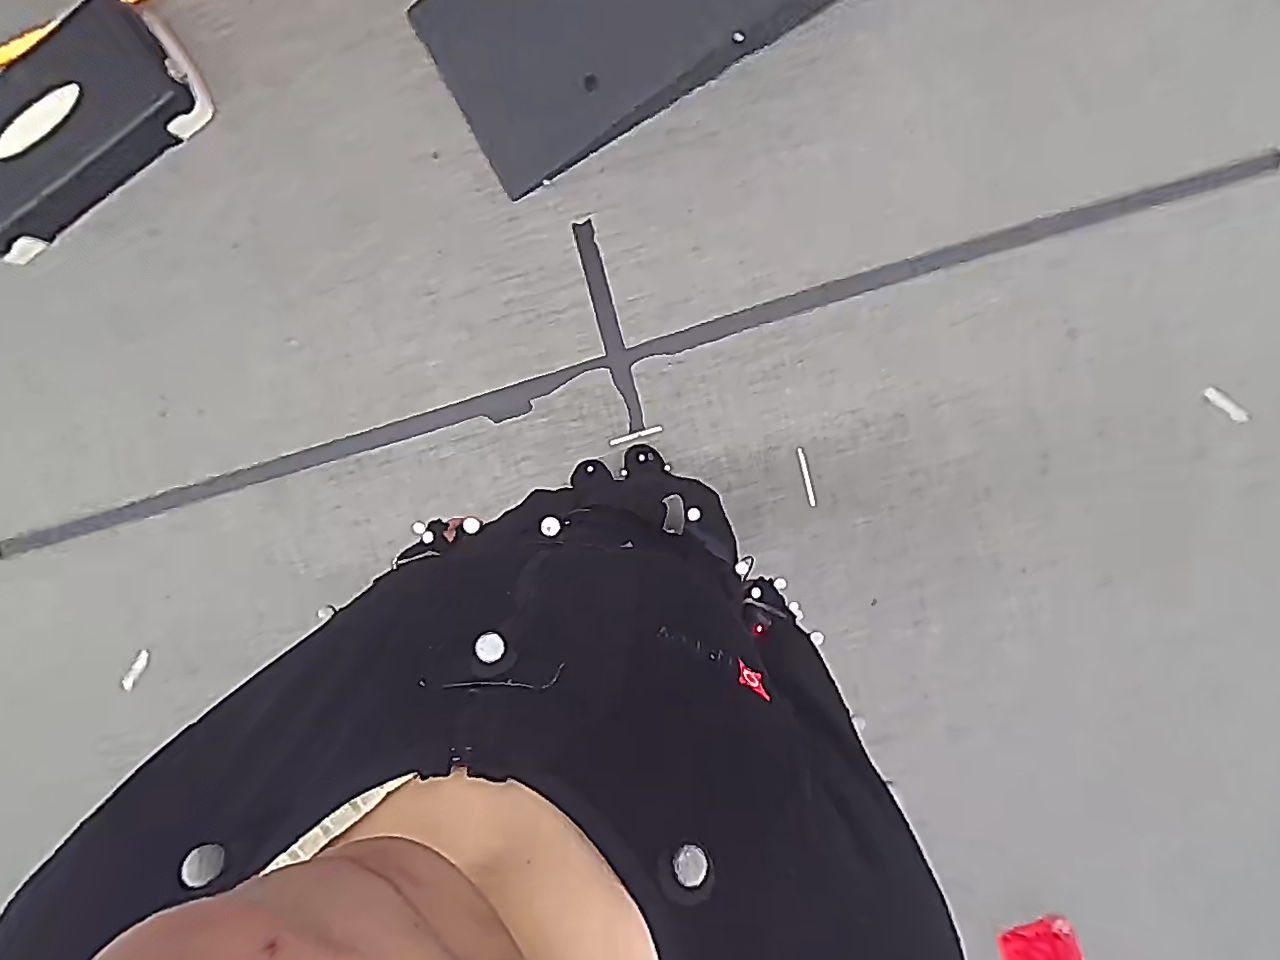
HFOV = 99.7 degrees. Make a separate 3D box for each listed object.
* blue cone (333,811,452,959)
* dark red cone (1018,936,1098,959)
[{"bbox_3d":[-0.630,1.023,1.324,0.192,0.380,0.193,-15,95,5],"label":"blue cone"},{"bbox_3d":[1.104,1.323,1.261,0.201,0.394,0.202,-23,95,5],"label":"dark red cone"}]
